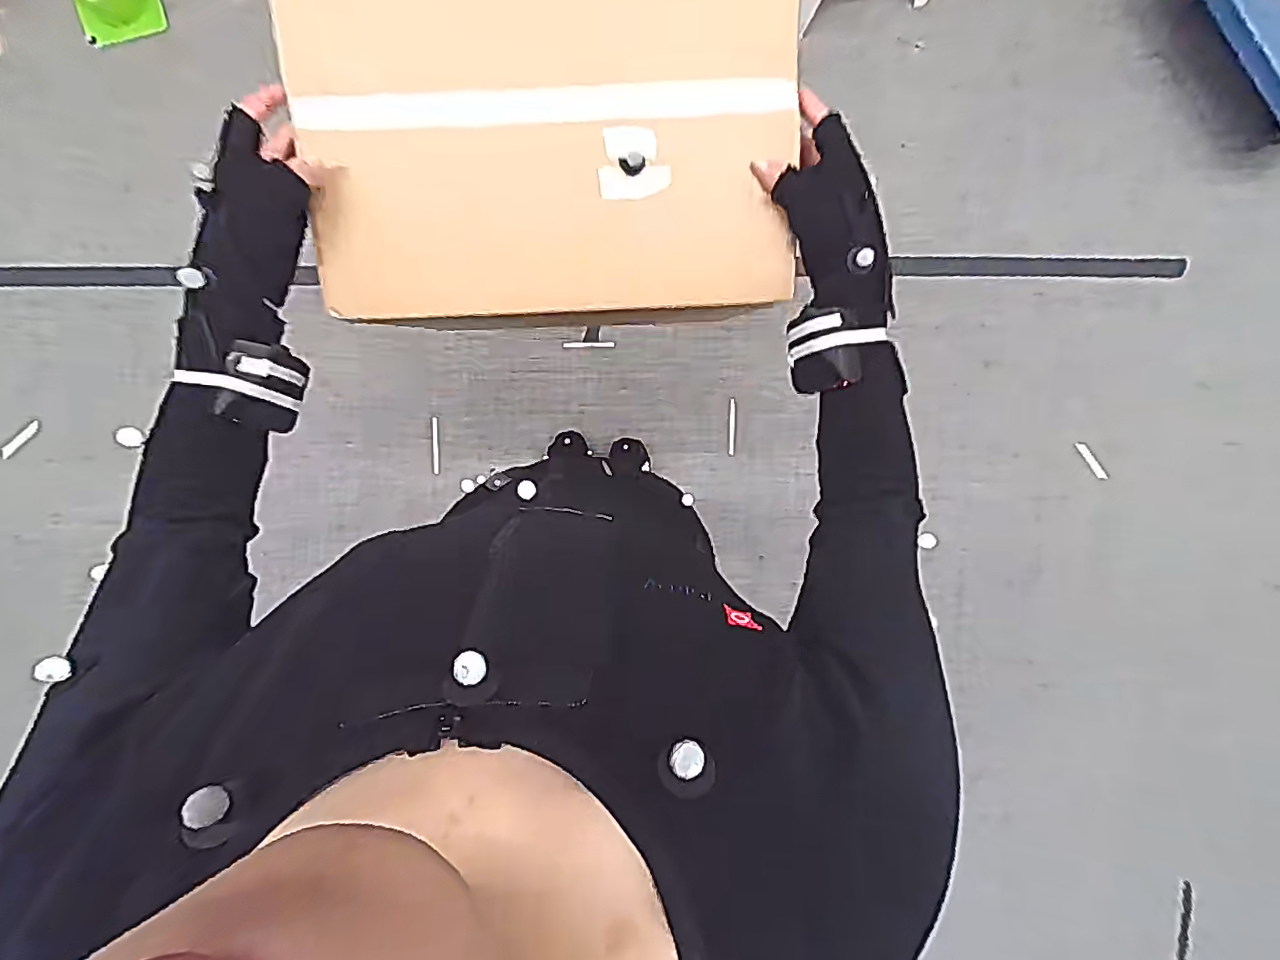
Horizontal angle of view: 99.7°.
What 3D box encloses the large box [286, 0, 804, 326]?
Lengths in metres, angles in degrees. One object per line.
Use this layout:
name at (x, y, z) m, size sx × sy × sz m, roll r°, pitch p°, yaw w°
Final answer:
large box at (-0.075, -0.341, 0.575) m, size 0.408 × 0.320 × 0.320 m, roll -3°, pitch 104°, yaw -2°
